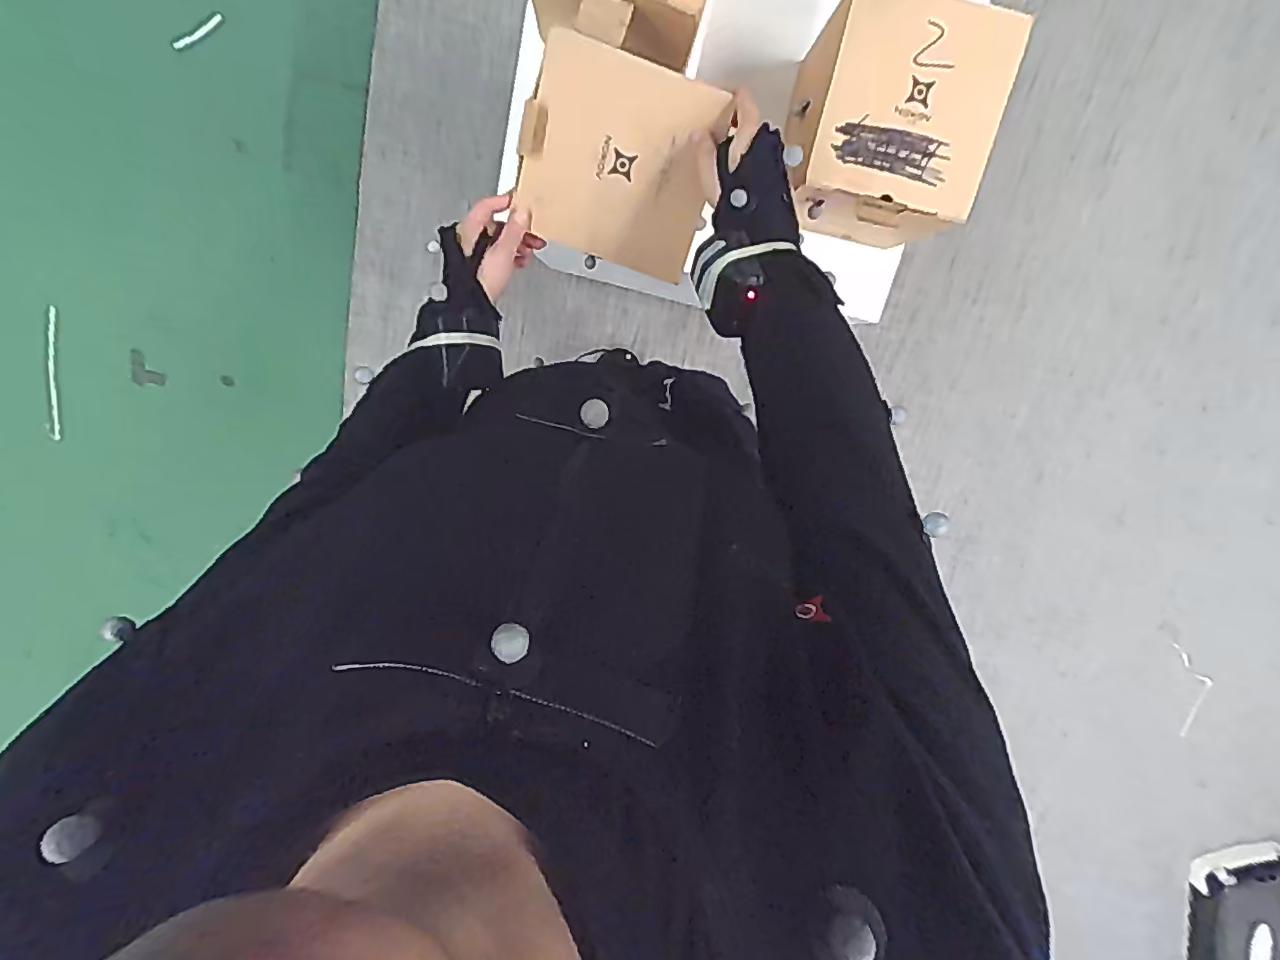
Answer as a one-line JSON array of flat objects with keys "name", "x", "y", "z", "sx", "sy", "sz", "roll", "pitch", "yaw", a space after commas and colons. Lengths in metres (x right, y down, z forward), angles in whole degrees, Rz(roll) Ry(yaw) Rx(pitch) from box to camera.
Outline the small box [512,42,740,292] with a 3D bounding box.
[{"name": "small box", "x": -0.018, "y": -0.309, "z": 0.574, "sx": 0.179, "sy": 0.176, "sz": 0.168, "roll": 16, "pitch": 110, "yaw": -7}]

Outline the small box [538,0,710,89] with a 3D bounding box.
[{"name": "small box", "x": -0.004, "y": -0.519, "z": 0.527, "sx": 0.168, "sy": 0.176, "sz": 0.179, "roll": 16, "pitch": 104, "yaw": -7}]
